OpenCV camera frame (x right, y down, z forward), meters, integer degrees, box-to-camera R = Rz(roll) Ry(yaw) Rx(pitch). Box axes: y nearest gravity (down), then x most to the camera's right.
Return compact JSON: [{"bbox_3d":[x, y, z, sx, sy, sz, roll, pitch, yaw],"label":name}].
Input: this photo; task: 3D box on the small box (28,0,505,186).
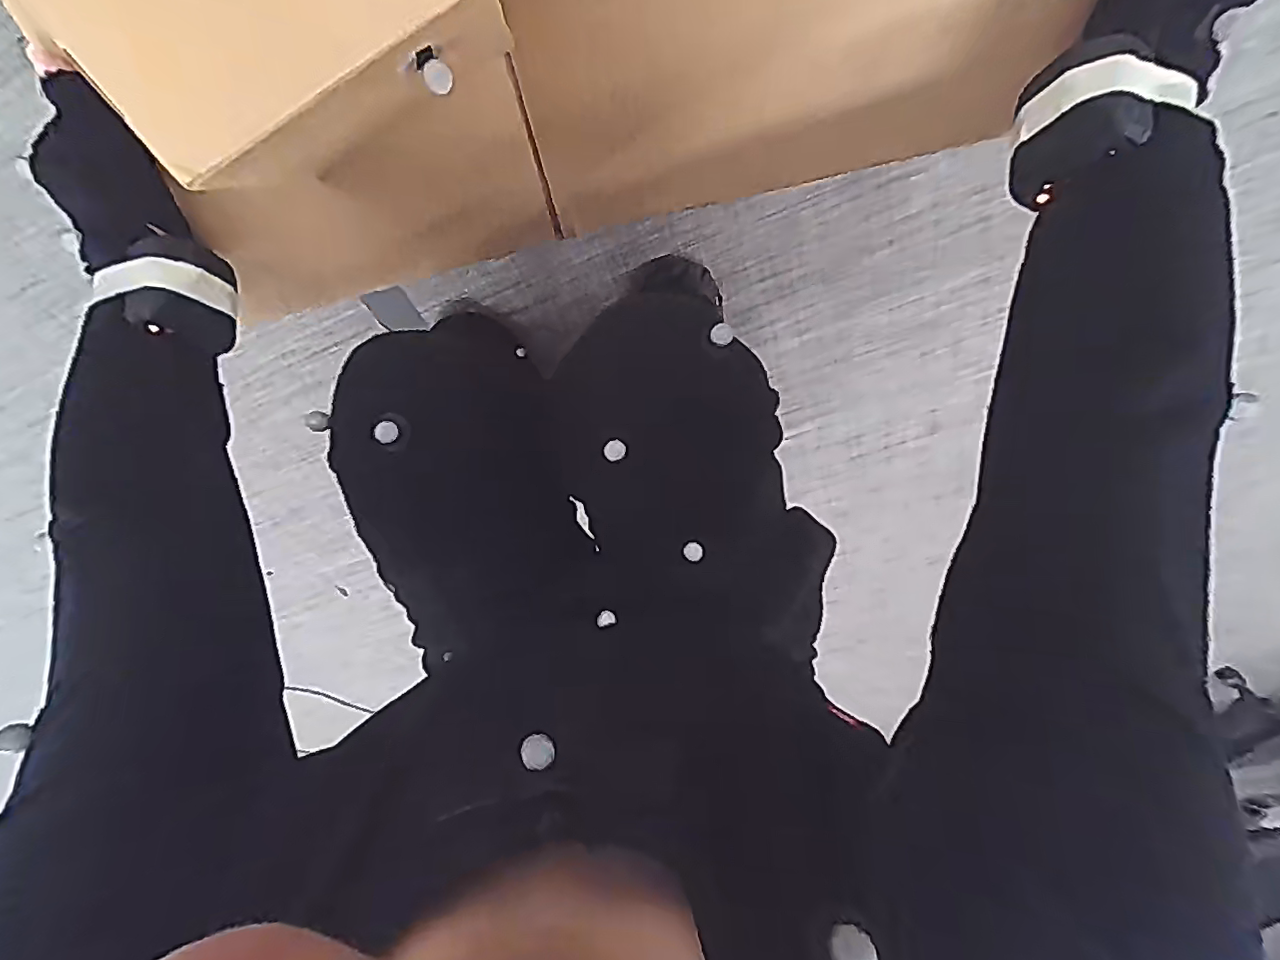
[{"bbox_3d":[-0.183,-0.276,0.270,0.179,0.176,0.168,-27,120,8],"label":"small box"}]
